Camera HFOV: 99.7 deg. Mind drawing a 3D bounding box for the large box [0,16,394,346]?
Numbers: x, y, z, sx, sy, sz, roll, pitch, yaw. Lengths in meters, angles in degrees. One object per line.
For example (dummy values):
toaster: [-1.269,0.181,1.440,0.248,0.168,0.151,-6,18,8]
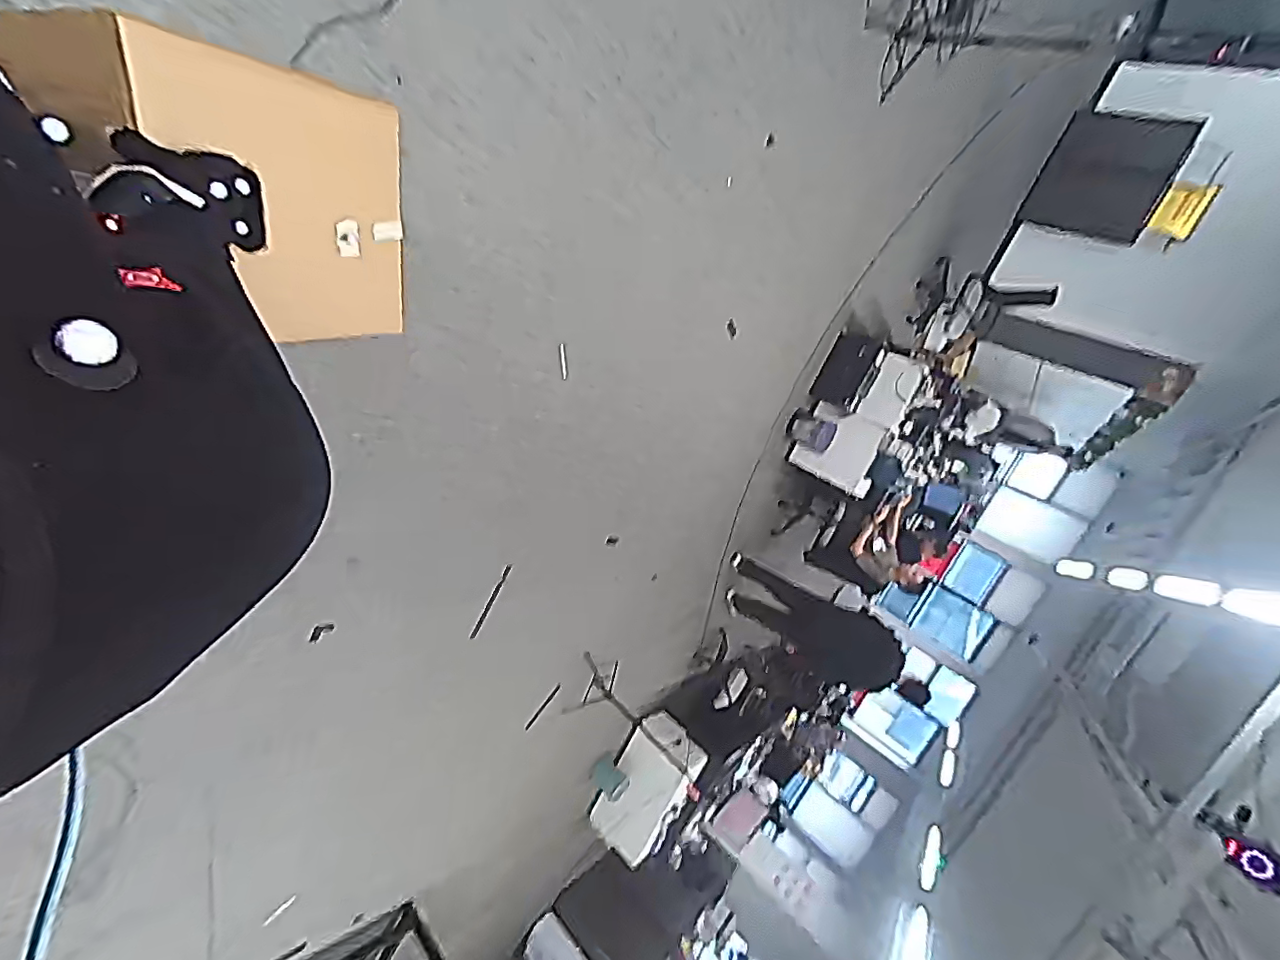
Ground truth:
large box: [-0.612,-0.393,0.759,0.320,0.408,0.320,-30,135,-57]
